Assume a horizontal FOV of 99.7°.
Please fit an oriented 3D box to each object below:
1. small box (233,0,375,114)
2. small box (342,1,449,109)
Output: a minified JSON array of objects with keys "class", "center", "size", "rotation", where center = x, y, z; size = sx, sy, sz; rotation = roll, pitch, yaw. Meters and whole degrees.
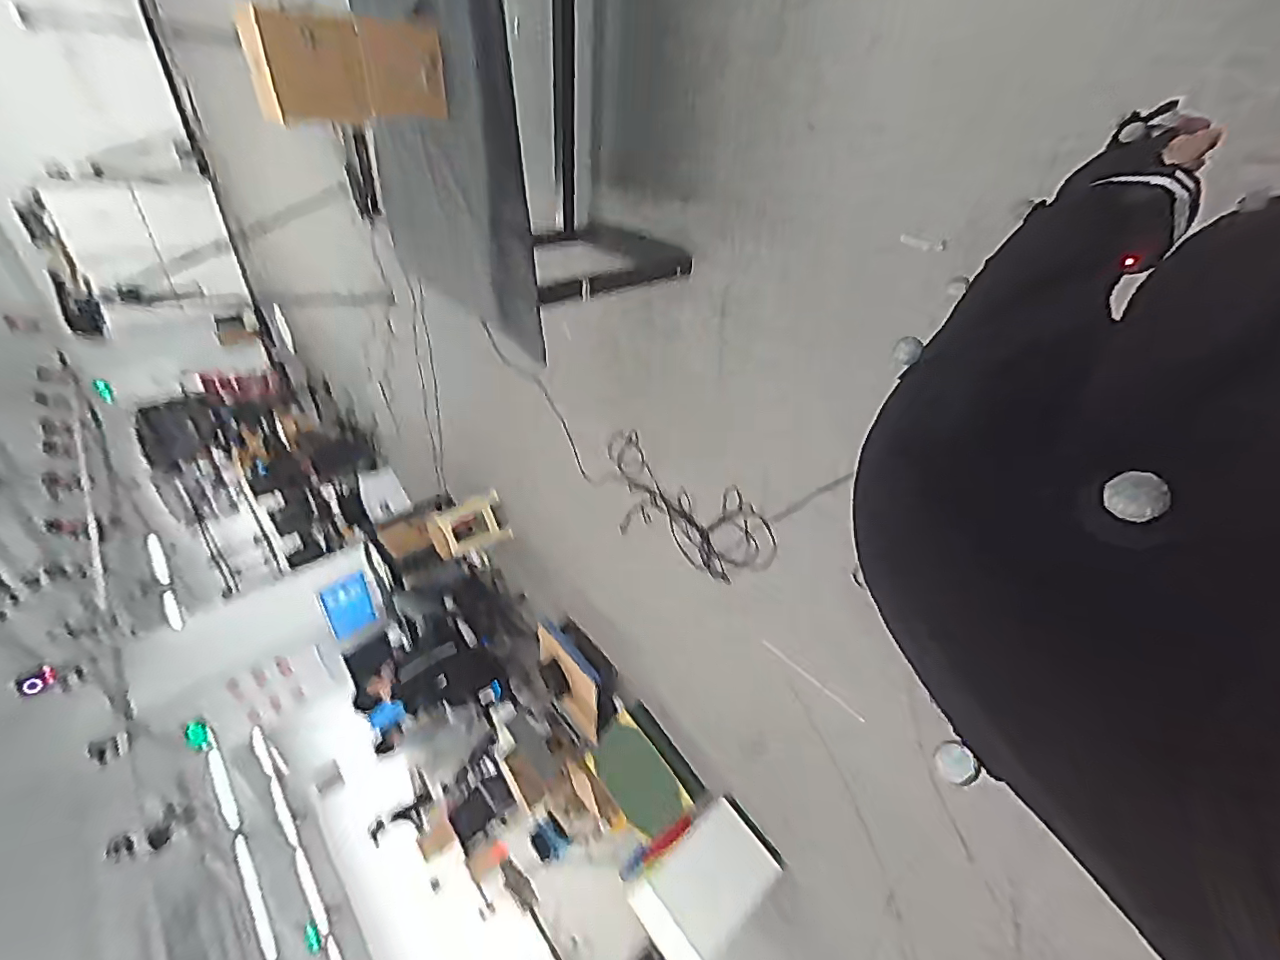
[{"class":"small box","center":[-0.647,-0.827,1.053],"size":[0.168,0.176,0.179],"rotation":[36,138,36]},{"class":"small box","center":[-0.527,-0.891,1.141],"size":[0.179,0.176,0.168],"rotation":[36,137,34]}]
